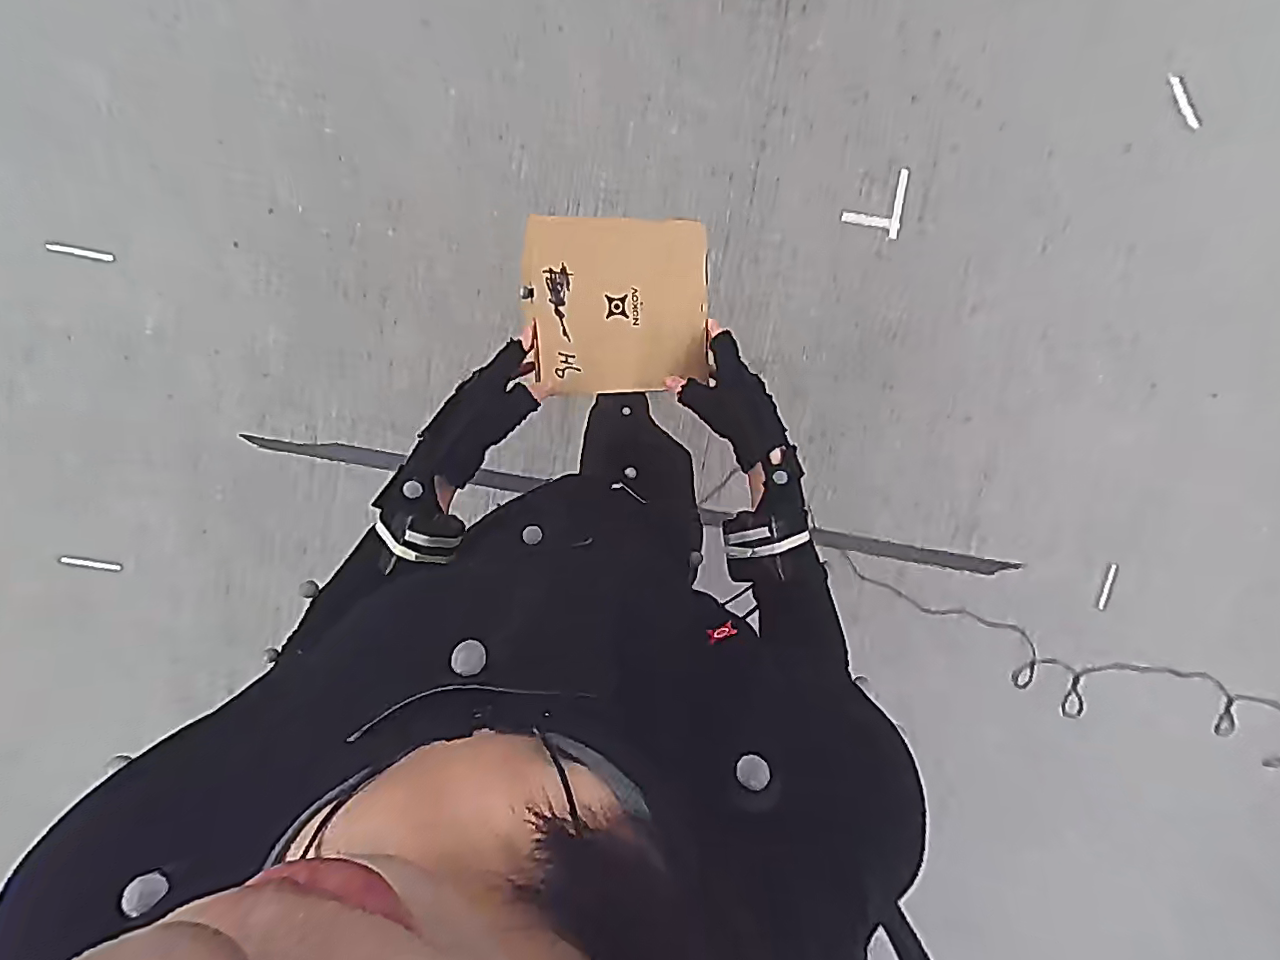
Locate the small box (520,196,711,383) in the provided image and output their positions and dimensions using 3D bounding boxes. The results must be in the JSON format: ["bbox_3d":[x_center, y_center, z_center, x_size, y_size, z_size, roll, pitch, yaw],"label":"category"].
[{"bbox_3d":[-0.035,-0.194,0.596,0.179,0.176,0.168,-5,99,-14],"label":"small box"}]
